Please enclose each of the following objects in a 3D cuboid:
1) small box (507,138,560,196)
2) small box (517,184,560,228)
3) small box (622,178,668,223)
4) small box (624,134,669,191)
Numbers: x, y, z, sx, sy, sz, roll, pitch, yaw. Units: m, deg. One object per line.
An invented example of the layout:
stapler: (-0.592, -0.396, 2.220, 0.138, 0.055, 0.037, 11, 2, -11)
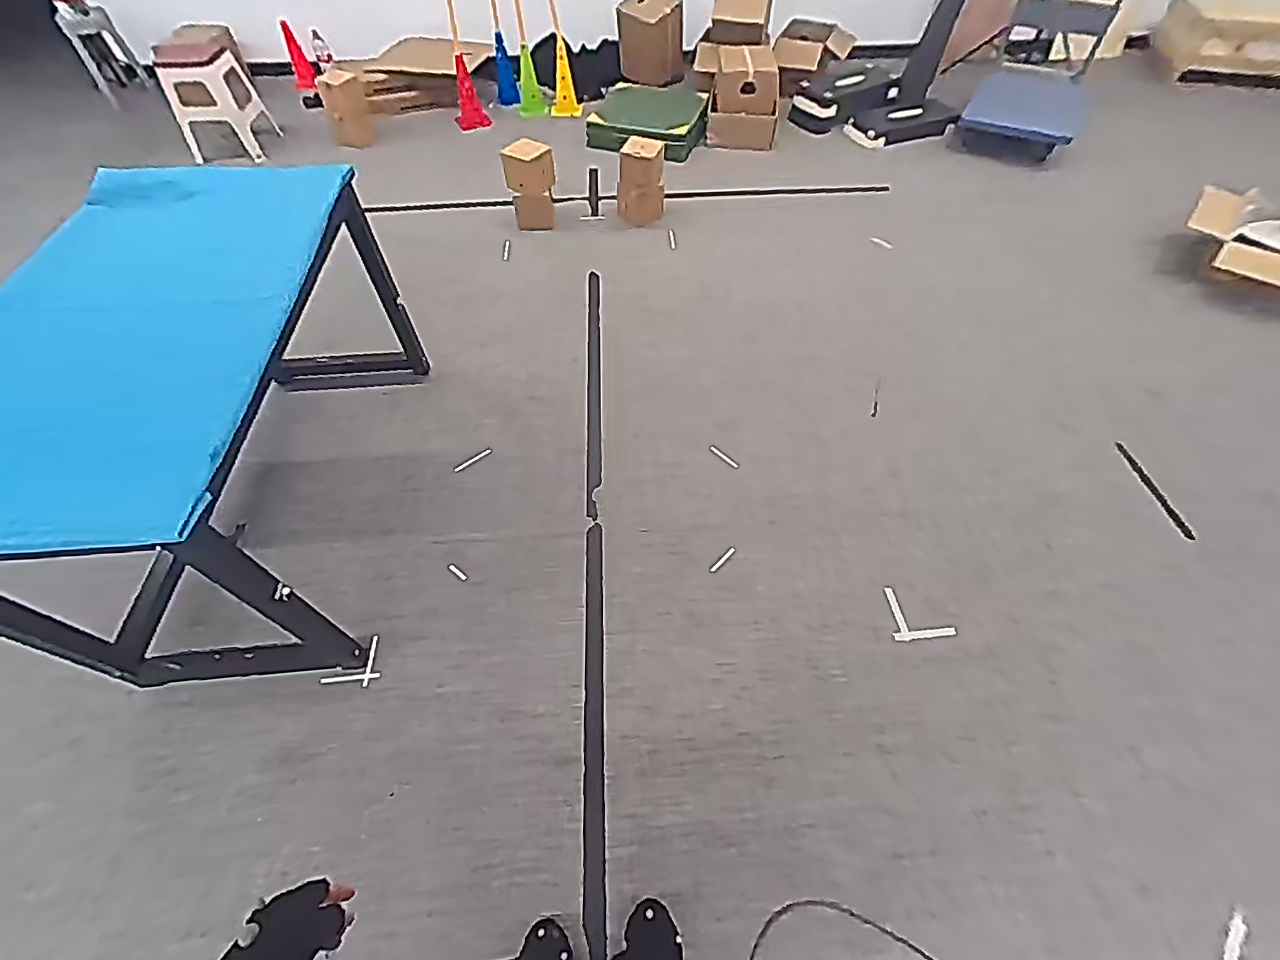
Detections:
small box: (-0.501, -1.477, 2.546, 0.179, 0.176, 0.168, 26, 58, 16)
small box: (-0.496, -1.370, 2.675, 0.179, 0.176, 0.168, -2, 54, 0)
small box: (0.026, -1.416, 2.705, 0.179, 0.176, 0.168, -31, 60, -20)
small box: (0.032, -1.502, 2.563, 0.168, 0.176, 0.179, 17, 56, 10)
